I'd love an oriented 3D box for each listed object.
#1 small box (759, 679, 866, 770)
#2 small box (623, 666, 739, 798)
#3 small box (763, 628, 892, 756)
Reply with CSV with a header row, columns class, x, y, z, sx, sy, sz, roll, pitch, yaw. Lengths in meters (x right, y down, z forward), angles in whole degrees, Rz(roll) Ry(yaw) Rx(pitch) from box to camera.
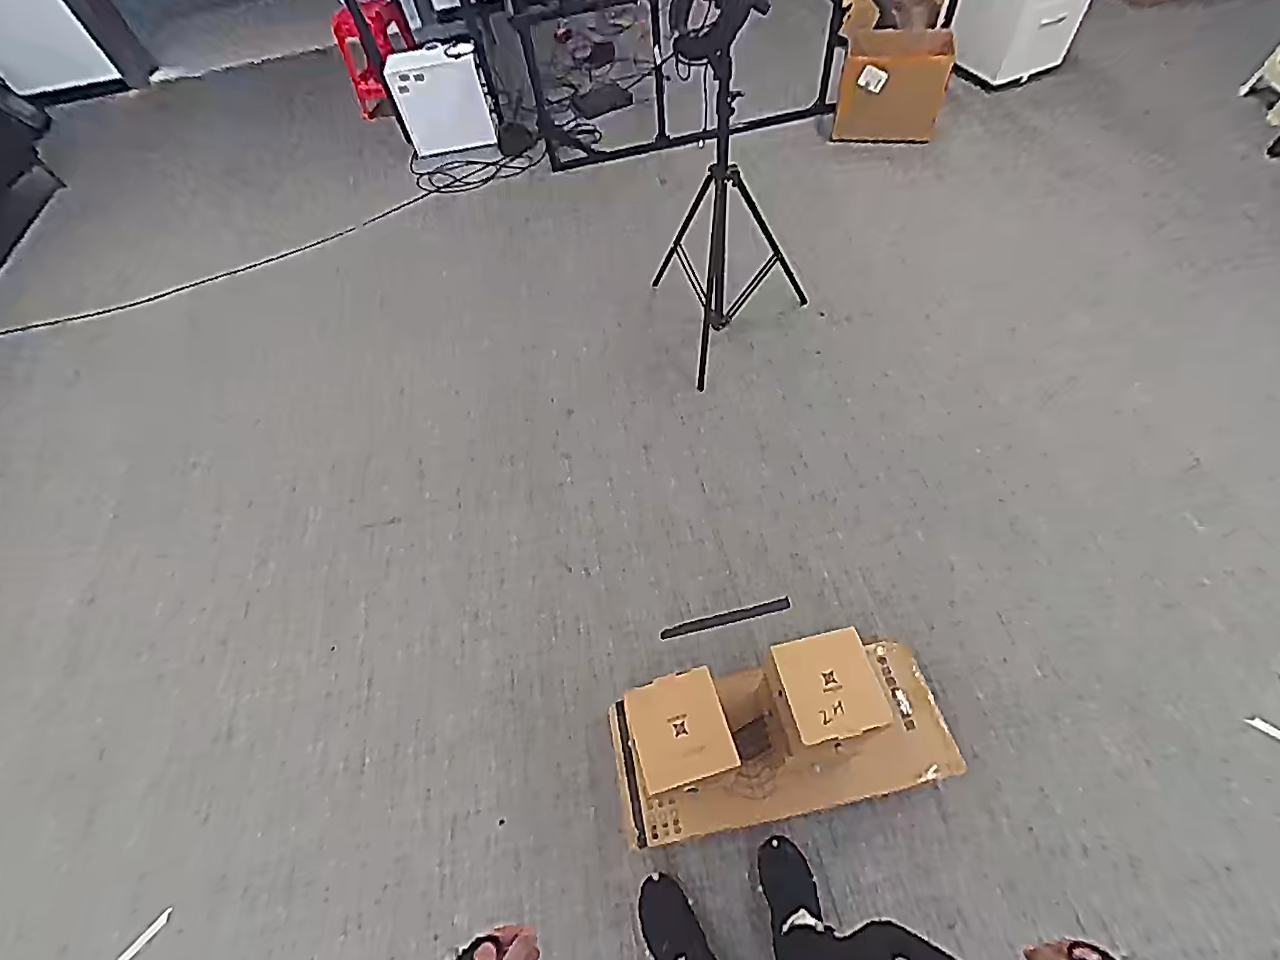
class,x,y,z,sx,sy,sz,roll,pitch,yaw
small box,0.358,0.509,1.161,0.168,0.176,0.179,-10,58,2
small box,0.076,0.478,1.019,0.168,0.176,0.179,-17,58,-4
small box,0.343,0.407,1.030,0.168,0.176,0.179,-13,57,-1
